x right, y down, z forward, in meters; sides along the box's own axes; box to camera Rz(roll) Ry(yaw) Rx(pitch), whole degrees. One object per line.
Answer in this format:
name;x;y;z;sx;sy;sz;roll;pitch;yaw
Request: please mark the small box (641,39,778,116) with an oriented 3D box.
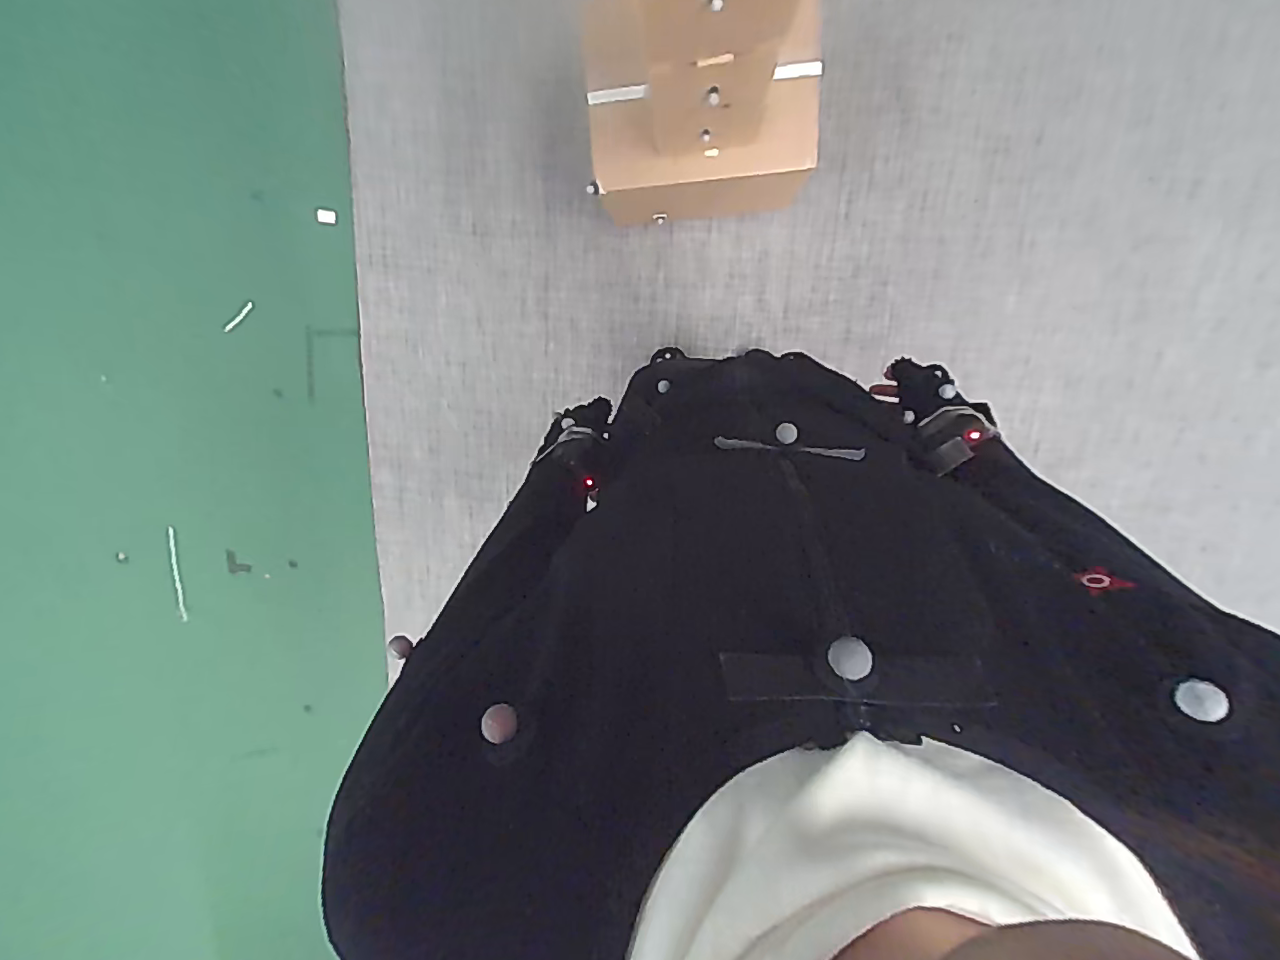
small box;0.085;-0.609;0.711;0.168;0.176;0.179;-5;104;7
